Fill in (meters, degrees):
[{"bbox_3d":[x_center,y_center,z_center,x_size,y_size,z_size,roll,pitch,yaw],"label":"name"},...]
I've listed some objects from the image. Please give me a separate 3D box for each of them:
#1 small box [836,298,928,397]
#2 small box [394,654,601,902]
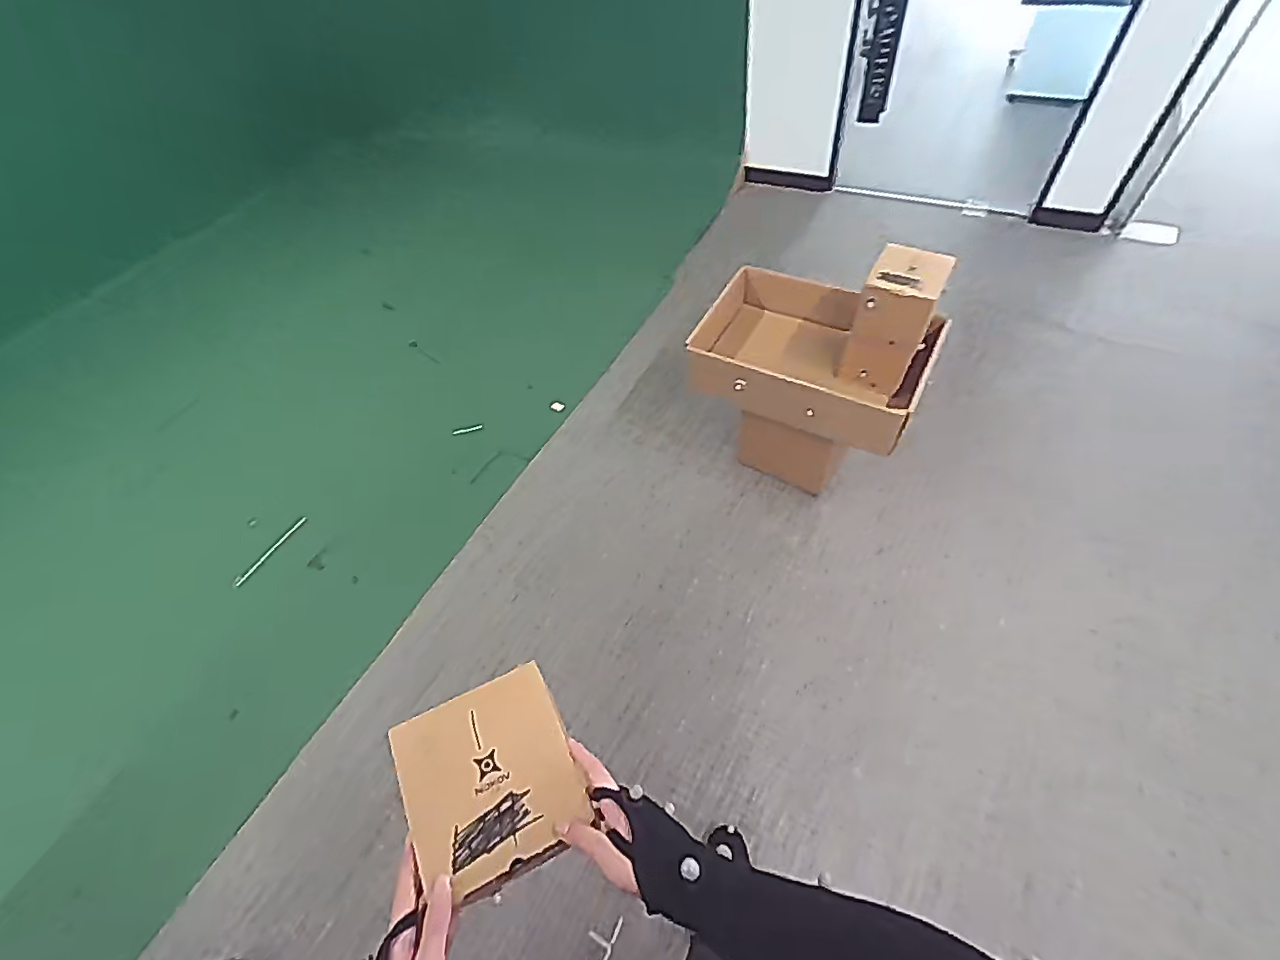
[{"bbox_3d":[0.660,-0.364,1.494,0.168,0.176,0.179,24,63,21],"label":"small box"},{"bbox_3d":[-0.151,0.331,0.612,0.168,0.176,0.179,-21,58,-16],"label":"small box"}]
